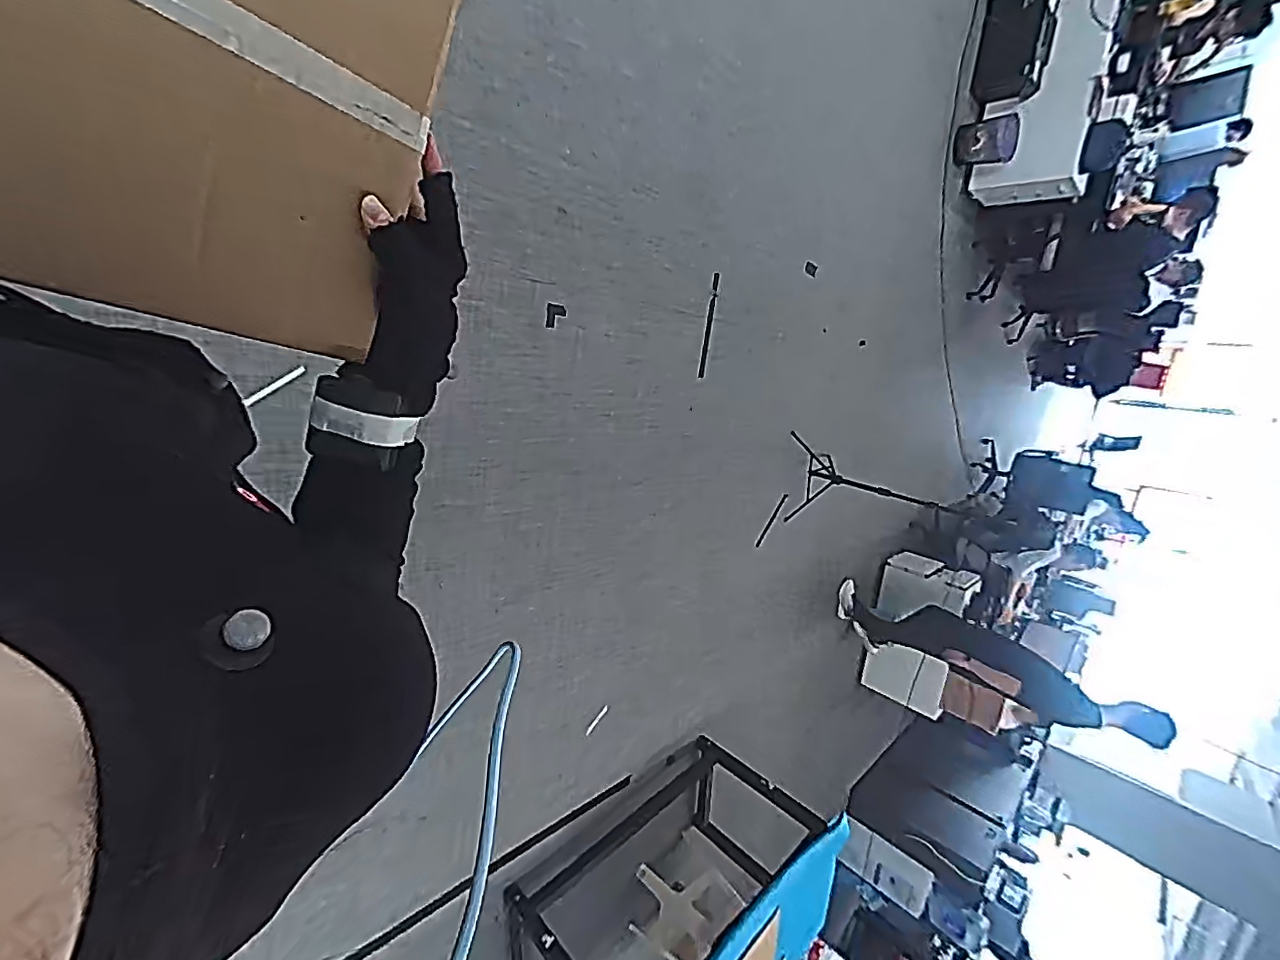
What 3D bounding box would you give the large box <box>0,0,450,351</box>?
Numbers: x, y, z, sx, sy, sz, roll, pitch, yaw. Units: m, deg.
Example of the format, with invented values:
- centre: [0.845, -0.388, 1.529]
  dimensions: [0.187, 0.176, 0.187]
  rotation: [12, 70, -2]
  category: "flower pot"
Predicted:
- centre: [-0.380, -0.310, 0.319]
  dimensions: [0.408, 0.320, 0.320]
  rotation: [8, 112, -45]
  category: "large box"
